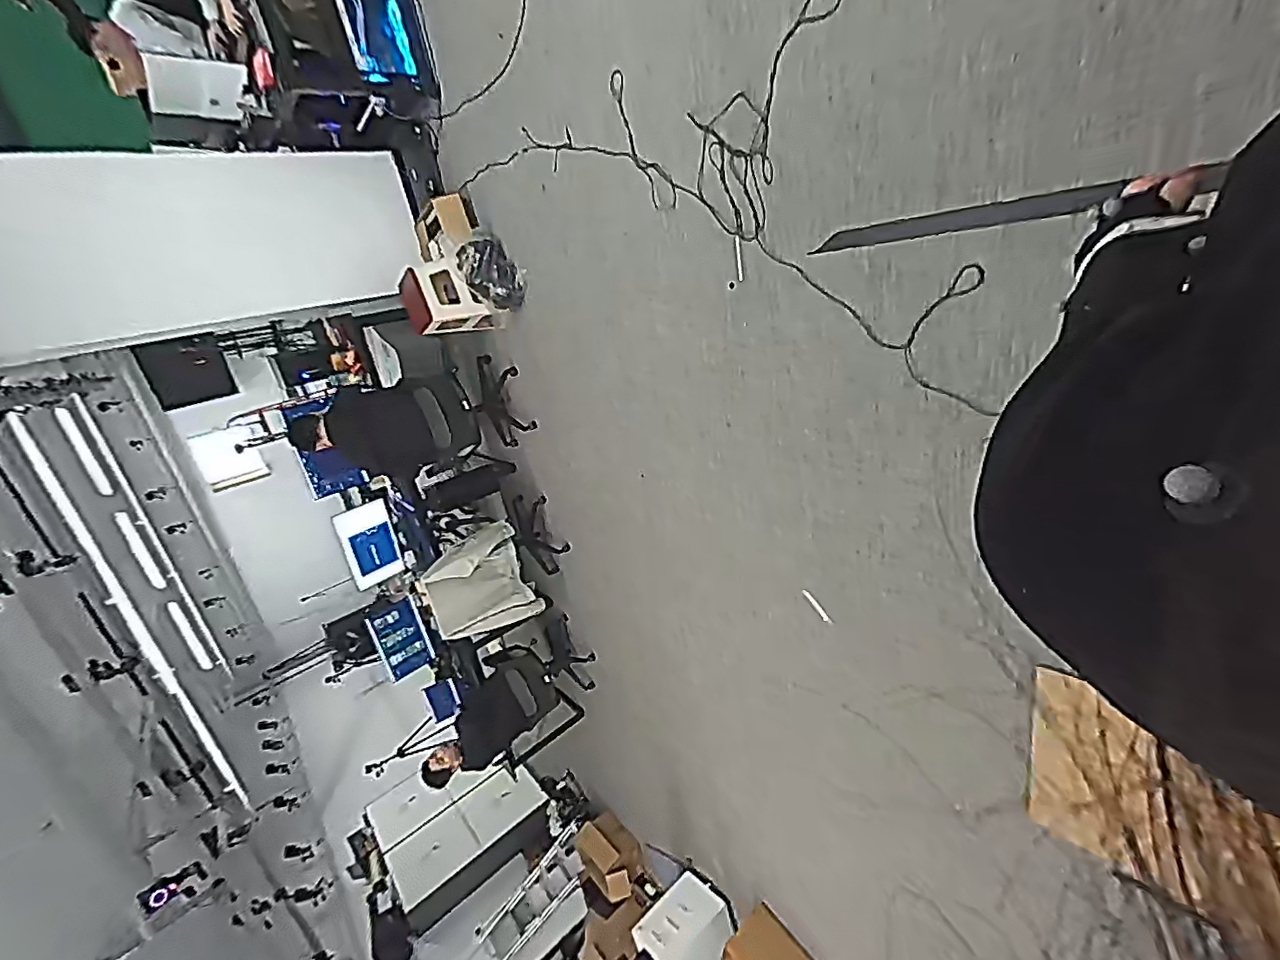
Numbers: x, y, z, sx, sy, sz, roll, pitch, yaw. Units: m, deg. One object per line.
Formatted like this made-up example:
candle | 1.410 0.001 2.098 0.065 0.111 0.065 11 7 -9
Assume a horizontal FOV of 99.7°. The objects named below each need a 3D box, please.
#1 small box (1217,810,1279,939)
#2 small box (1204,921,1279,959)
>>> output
small box | 1.426 0.884 1.193 0.168 0.176 0.179 19 126 49
small box | 1.175 1.005 1.016 0.168 0.176 0.179 16 123 49
